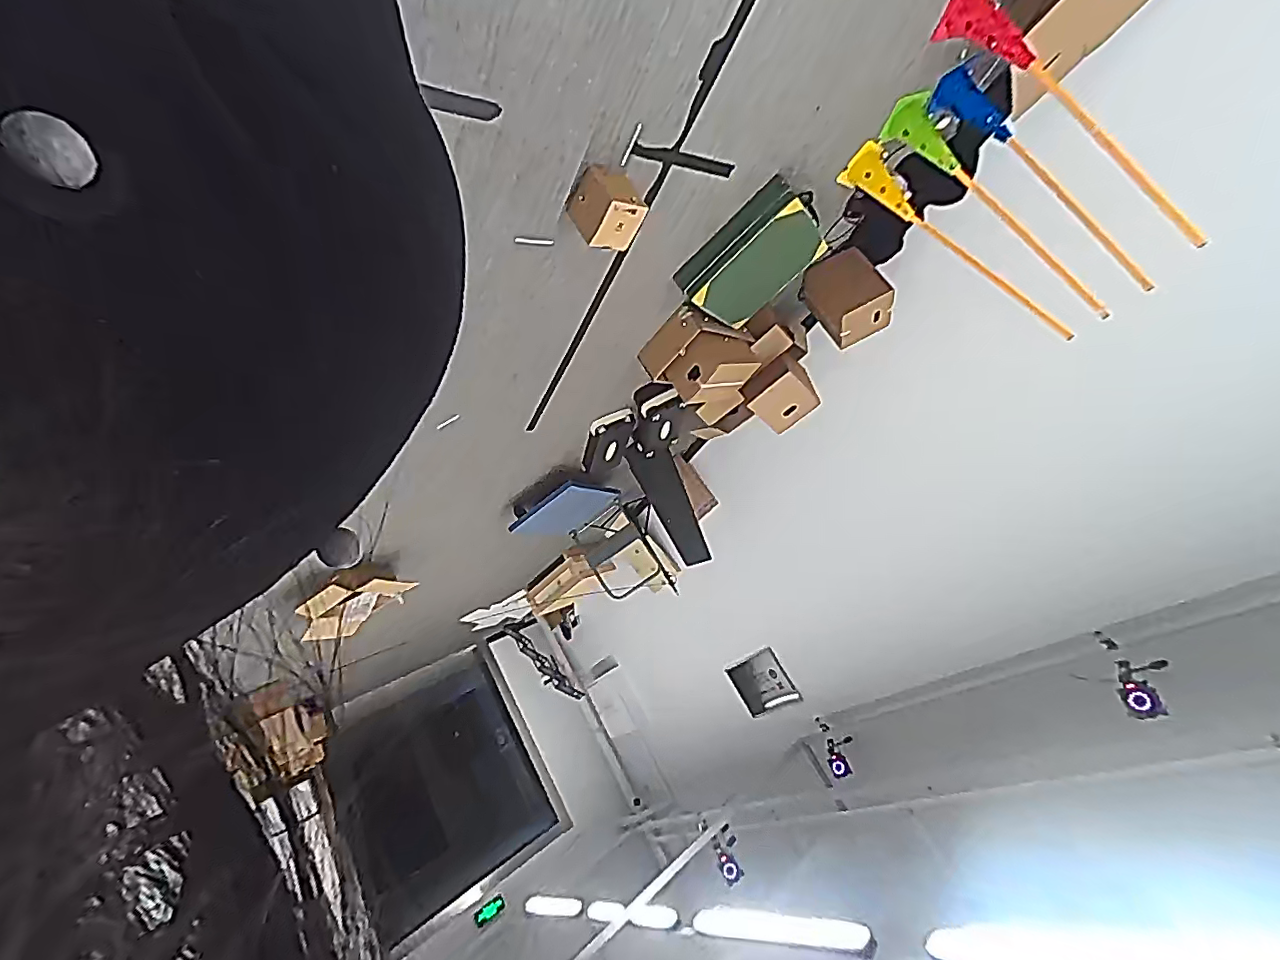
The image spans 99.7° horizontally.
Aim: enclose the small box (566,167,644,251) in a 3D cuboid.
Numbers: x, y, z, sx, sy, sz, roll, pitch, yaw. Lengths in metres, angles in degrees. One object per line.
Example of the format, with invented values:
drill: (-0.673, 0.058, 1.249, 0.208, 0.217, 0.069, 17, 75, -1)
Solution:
small box: (-0.125, -0.907, 1.818, 0.168, 0.176, 0.179, -17, 159, -44)
